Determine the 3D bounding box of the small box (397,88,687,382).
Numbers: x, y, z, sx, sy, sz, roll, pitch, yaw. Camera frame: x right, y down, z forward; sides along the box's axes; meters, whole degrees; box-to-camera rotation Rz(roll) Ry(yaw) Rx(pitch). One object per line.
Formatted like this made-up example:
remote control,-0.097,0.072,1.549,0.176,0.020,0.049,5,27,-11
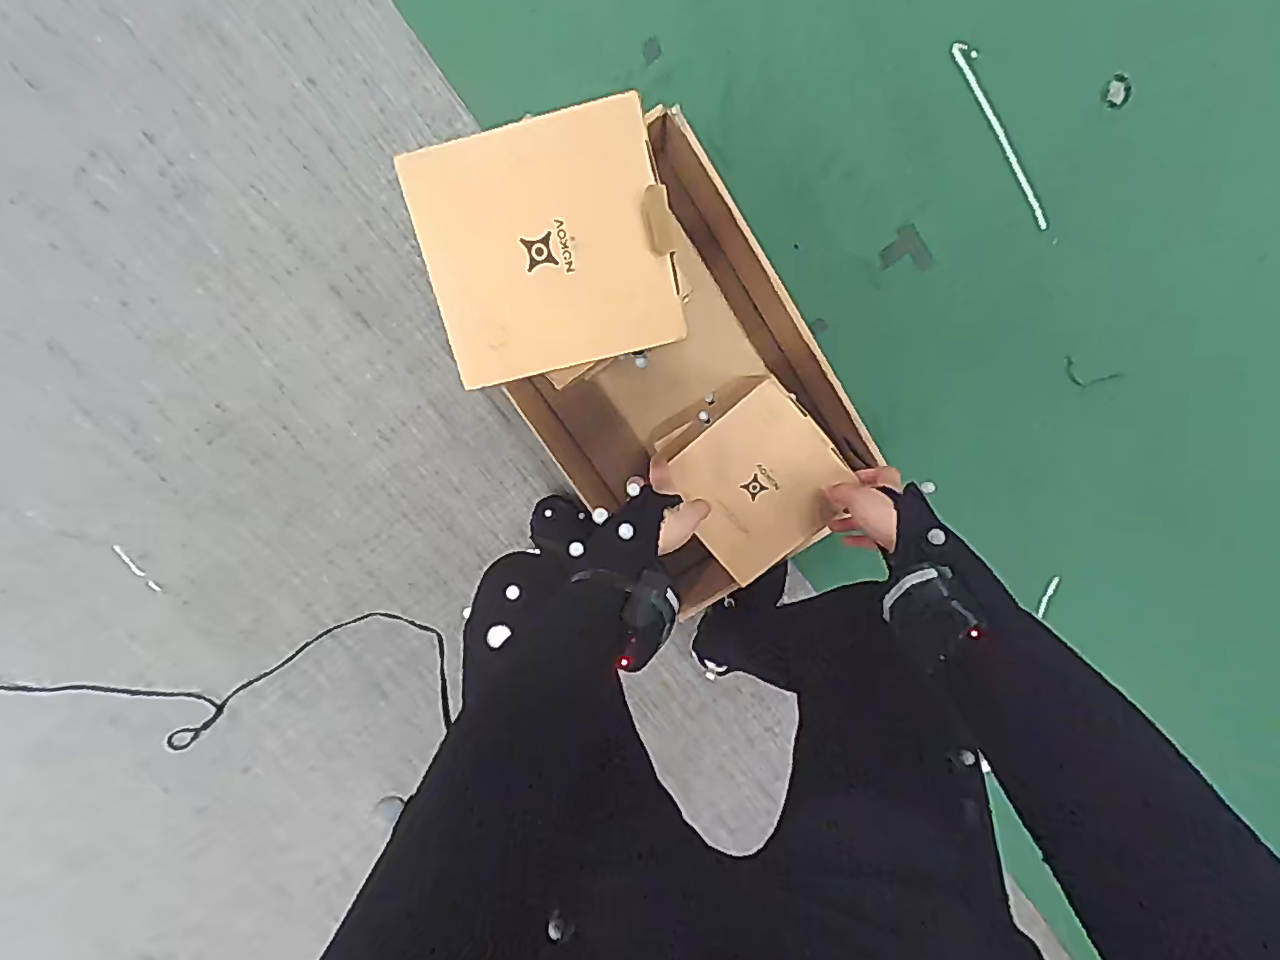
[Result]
small box,-0.065,-0.184,0.458,0.179,0.176,0.168,-13,104,3

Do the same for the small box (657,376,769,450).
small box,0.137,-0.048,0.828,0.179,0.176,0.168,-30,101,8

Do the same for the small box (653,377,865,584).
small box,0.131,-0.011,0.664,0.179,0.176,0.168,-40,96,9
